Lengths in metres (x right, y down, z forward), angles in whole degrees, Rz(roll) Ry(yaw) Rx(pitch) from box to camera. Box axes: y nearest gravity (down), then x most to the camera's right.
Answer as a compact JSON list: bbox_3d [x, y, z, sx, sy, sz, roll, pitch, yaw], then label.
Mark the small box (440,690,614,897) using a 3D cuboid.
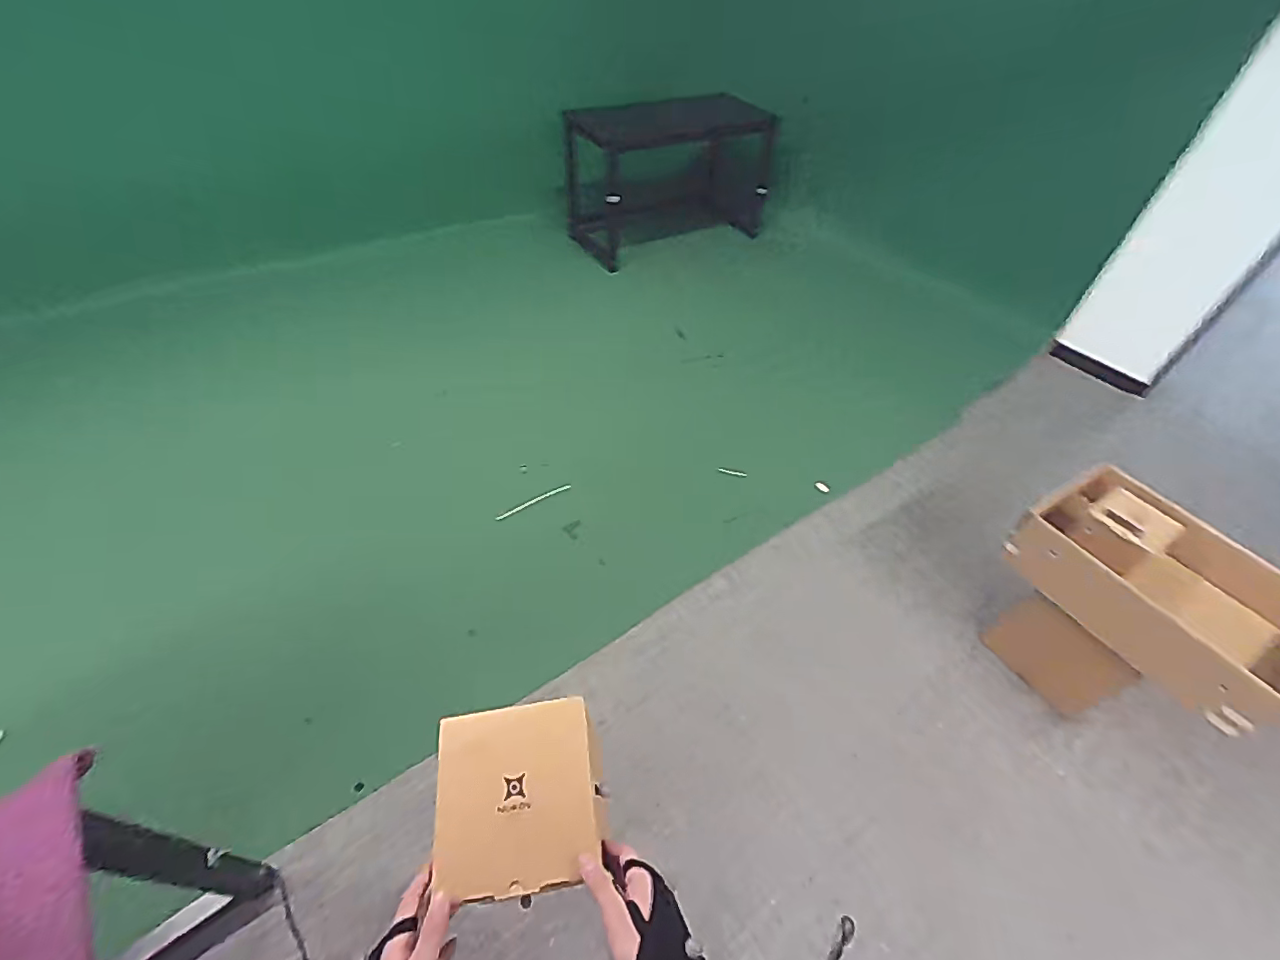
[{"bbox_3d":[-0.121,0.365,0.633,0.168,0.176,0.179,-7,56,-4],"label":"small box"}]
